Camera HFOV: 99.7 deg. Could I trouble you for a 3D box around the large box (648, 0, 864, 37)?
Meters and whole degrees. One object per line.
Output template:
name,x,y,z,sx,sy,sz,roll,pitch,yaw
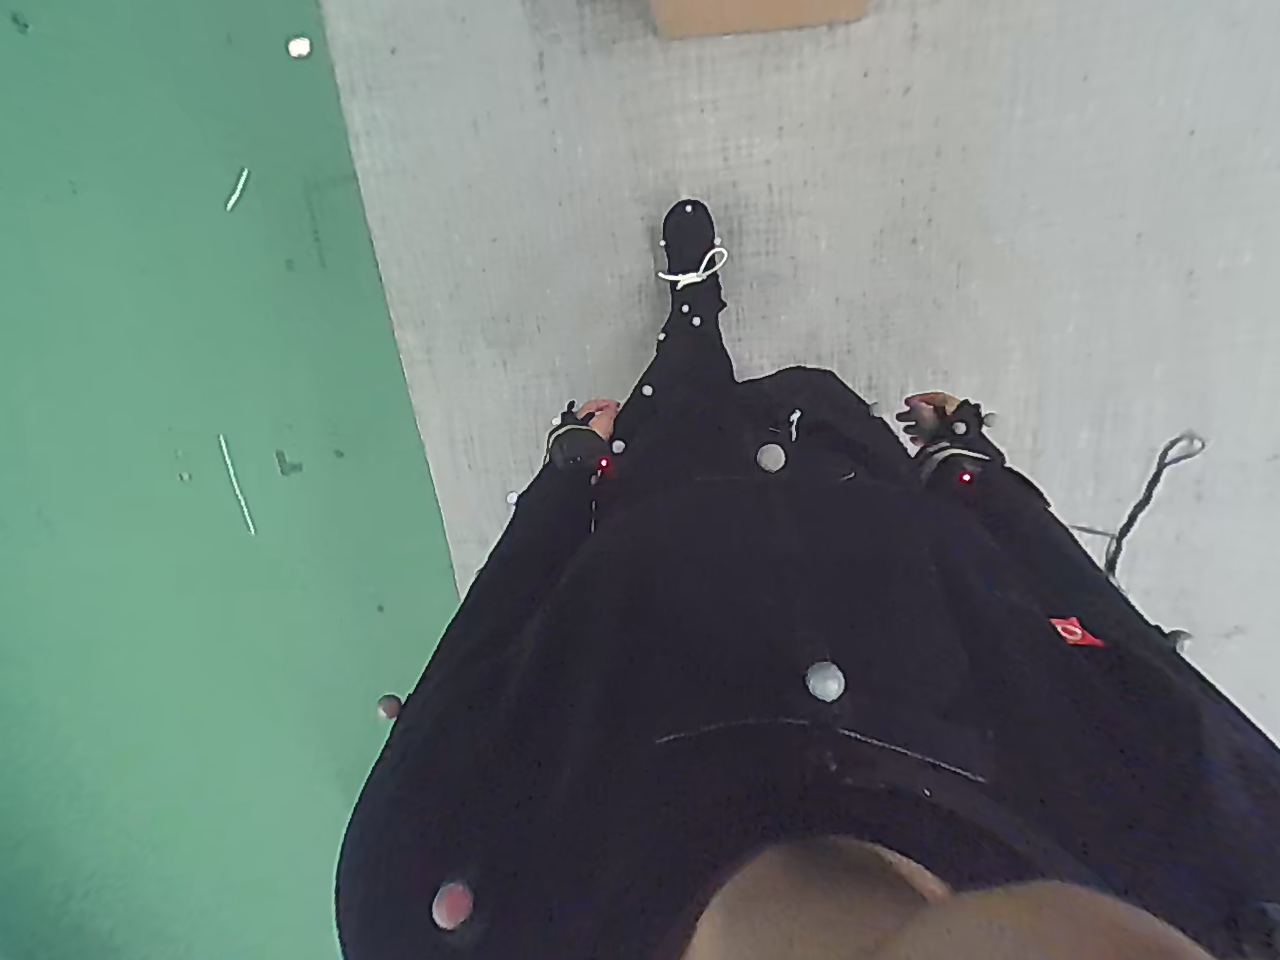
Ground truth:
large box,0.200,-1.000,0.888,0.408,0.320,0.320,1,108,9
